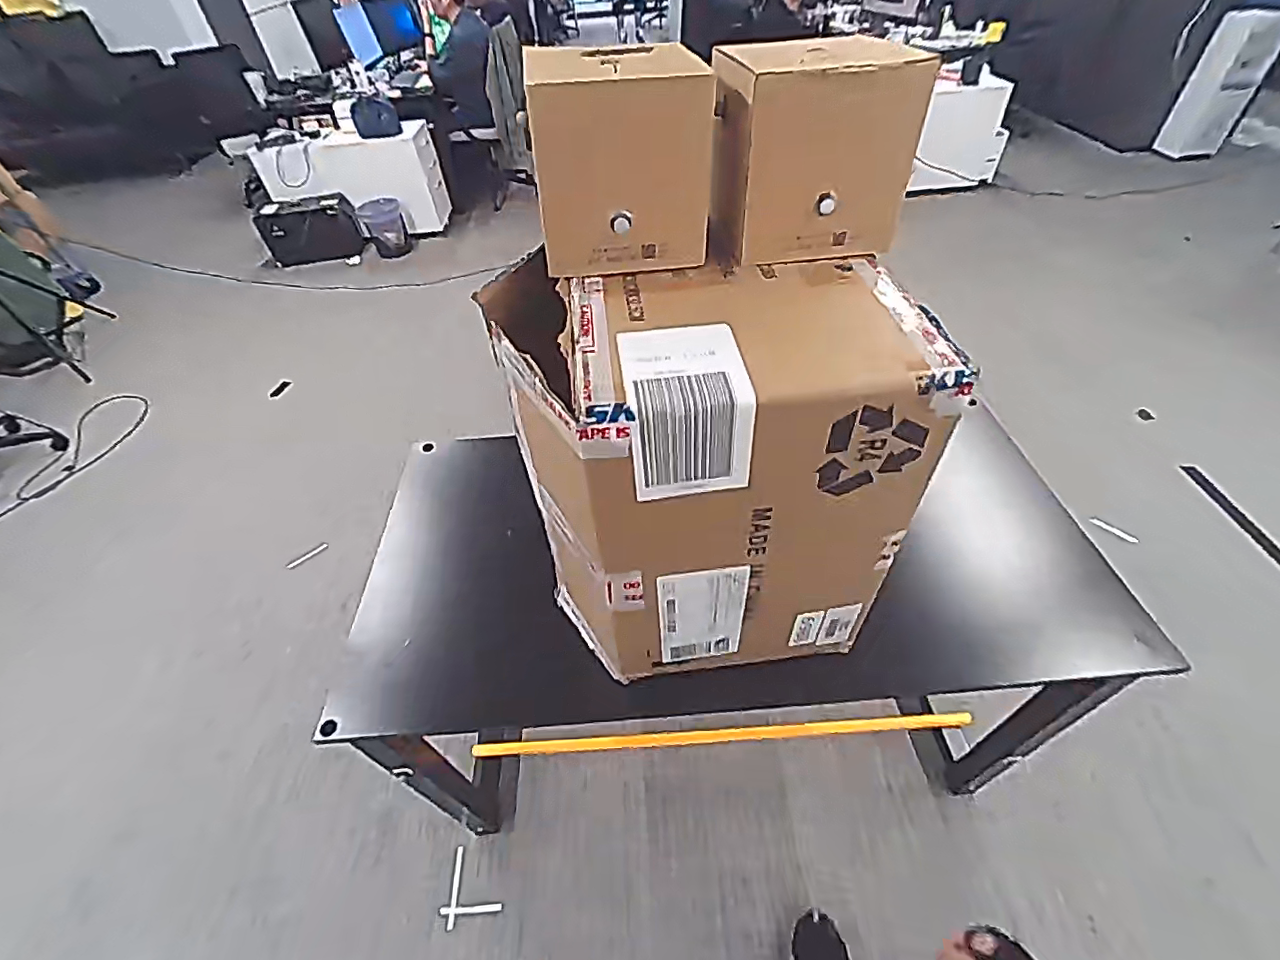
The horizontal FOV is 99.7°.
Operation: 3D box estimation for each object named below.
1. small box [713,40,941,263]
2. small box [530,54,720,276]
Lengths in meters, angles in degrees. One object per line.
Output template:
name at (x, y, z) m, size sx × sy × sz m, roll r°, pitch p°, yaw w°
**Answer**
small box at (0.176, -0.352, 0.580) m, size 0.168 × 0.176 × 0.179 m, roll -7°, pitch 45°, yaw -2°
small box at (-0.022, -0.333, 0.571) m, size 0.168 × 0.176 × 0.179 m, roll -7°, pitch 45°, yaw -5°
